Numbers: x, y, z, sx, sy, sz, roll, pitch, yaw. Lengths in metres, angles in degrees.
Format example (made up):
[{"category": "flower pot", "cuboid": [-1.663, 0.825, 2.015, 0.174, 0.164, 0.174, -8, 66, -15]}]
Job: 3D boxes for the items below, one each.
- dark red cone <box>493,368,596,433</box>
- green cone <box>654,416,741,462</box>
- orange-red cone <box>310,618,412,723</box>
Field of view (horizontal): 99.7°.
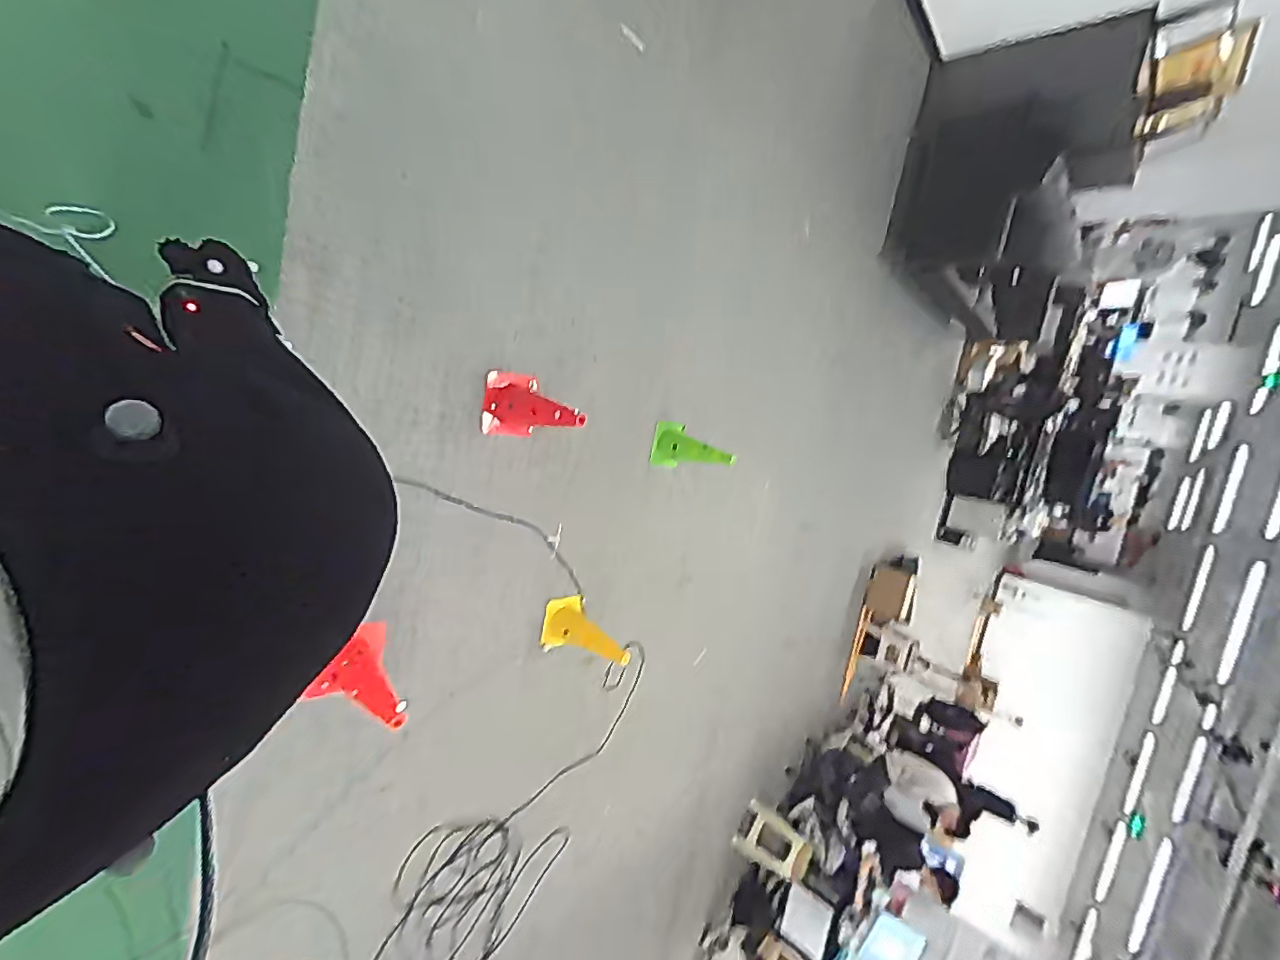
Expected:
[{"category": "dark red cone", "cuboid": [-0.269, -0.215, 1.639, 0.201, 0.394, 0.202, -2, 105, -46]}, {"category": "green cone", "cuboid": [0.266, -0.139, 2.291, 0.200, 0.368, 0.202, 3, 102, -48]}, {"category": "orange-red cone", "cuboid": [-0.708, 0.540, 1.452, 0.199, 0.360, 0.198, 6, 100, -49]}]
